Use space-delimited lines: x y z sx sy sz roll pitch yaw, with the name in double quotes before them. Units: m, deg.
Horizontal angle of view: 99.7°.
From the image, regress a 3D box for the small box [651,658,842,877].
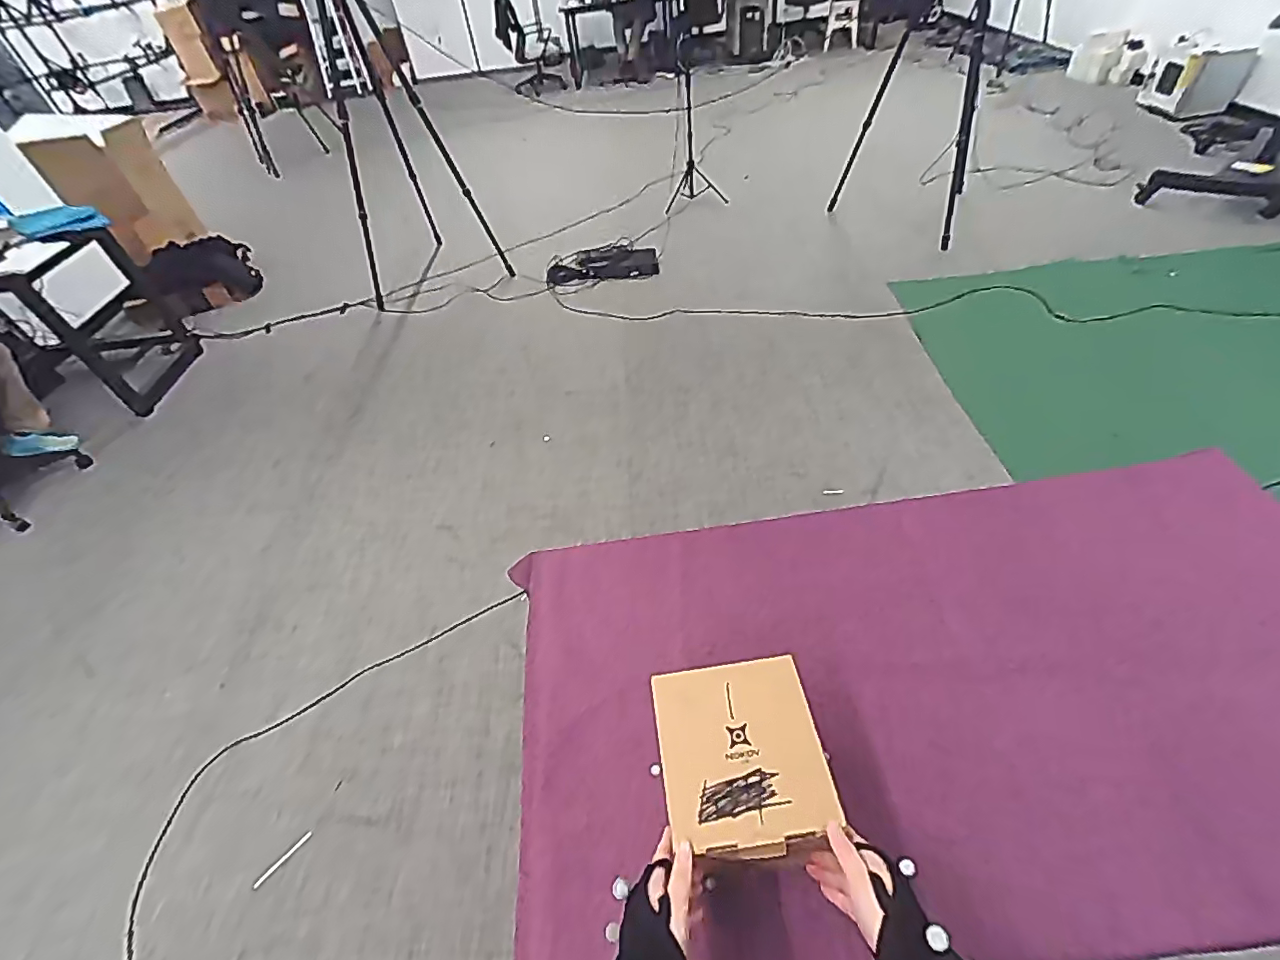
"small box" 0.110 0.331 0.615 0.168 0.176 0.179 -9 46 0
